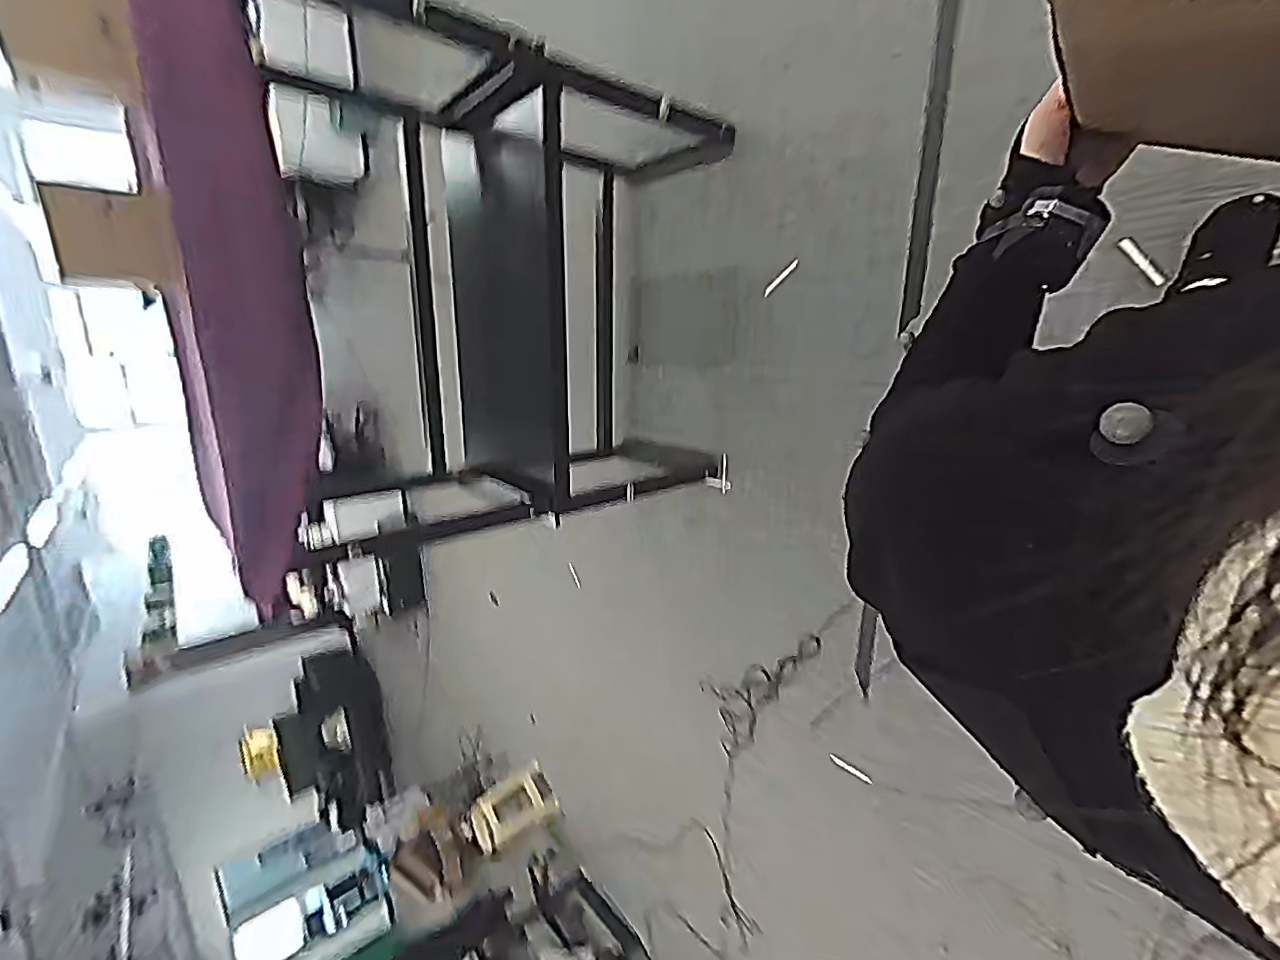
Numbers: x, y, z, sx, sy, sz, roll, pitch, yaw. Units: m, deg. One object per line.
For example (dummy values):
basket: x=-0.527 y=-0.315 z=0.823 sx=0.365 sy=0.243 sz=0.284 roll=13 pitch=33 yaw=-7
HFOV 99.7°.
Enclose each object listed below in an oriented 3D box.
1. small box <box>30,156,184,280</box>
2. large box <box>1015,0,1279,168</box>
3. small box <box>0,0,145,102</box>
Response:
small box: x=-0.975 y=-0.472 z=1.002 sx=0.168 sy=0.176 sz=0.179 roll=21 pitch=115 yaw=47
large box: x=0.422 y=-0.274 z=0.156 sx=0.408 sy=0.320 sz=0.320 roll=30 pitch=122 yaw=31
small box: x=-0.952 y=-0.769 z=0.897 sx=0.168 sy=0.176 sz=0.179 roll=21 pitch=114 yaw=47
